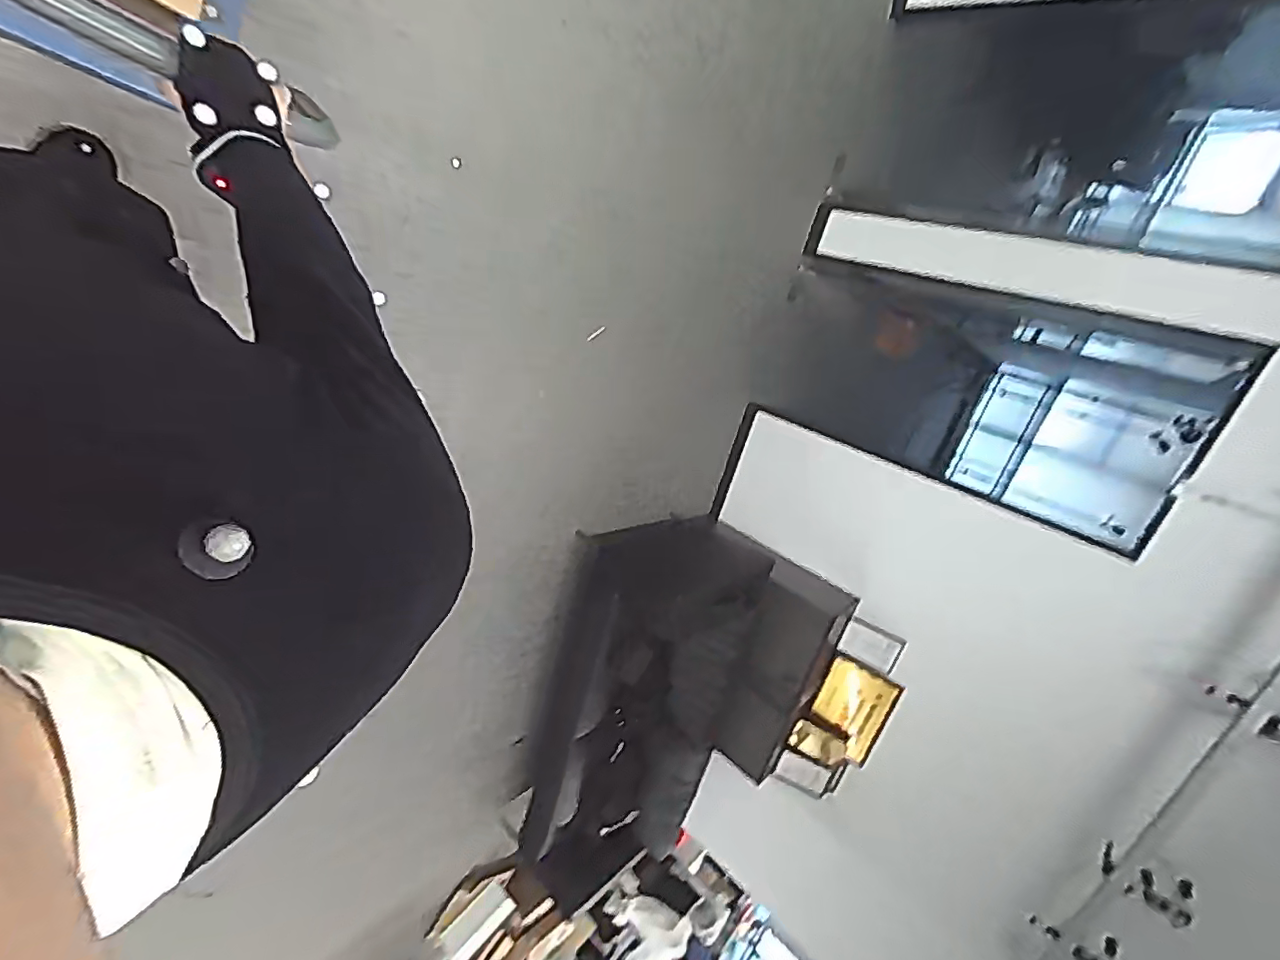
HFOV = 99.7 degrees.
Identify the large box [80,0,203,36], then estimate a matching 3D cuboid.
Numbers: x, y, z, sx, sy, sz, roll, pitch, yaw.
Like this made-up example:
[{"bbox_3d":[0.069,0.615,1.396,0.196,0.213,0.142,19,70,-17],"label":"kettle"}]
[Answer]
[{"bbox_3d":[-0.777,-0.900,0.702,0.320,0.320,0.408,2,112,-54],"label":"large box"}]
